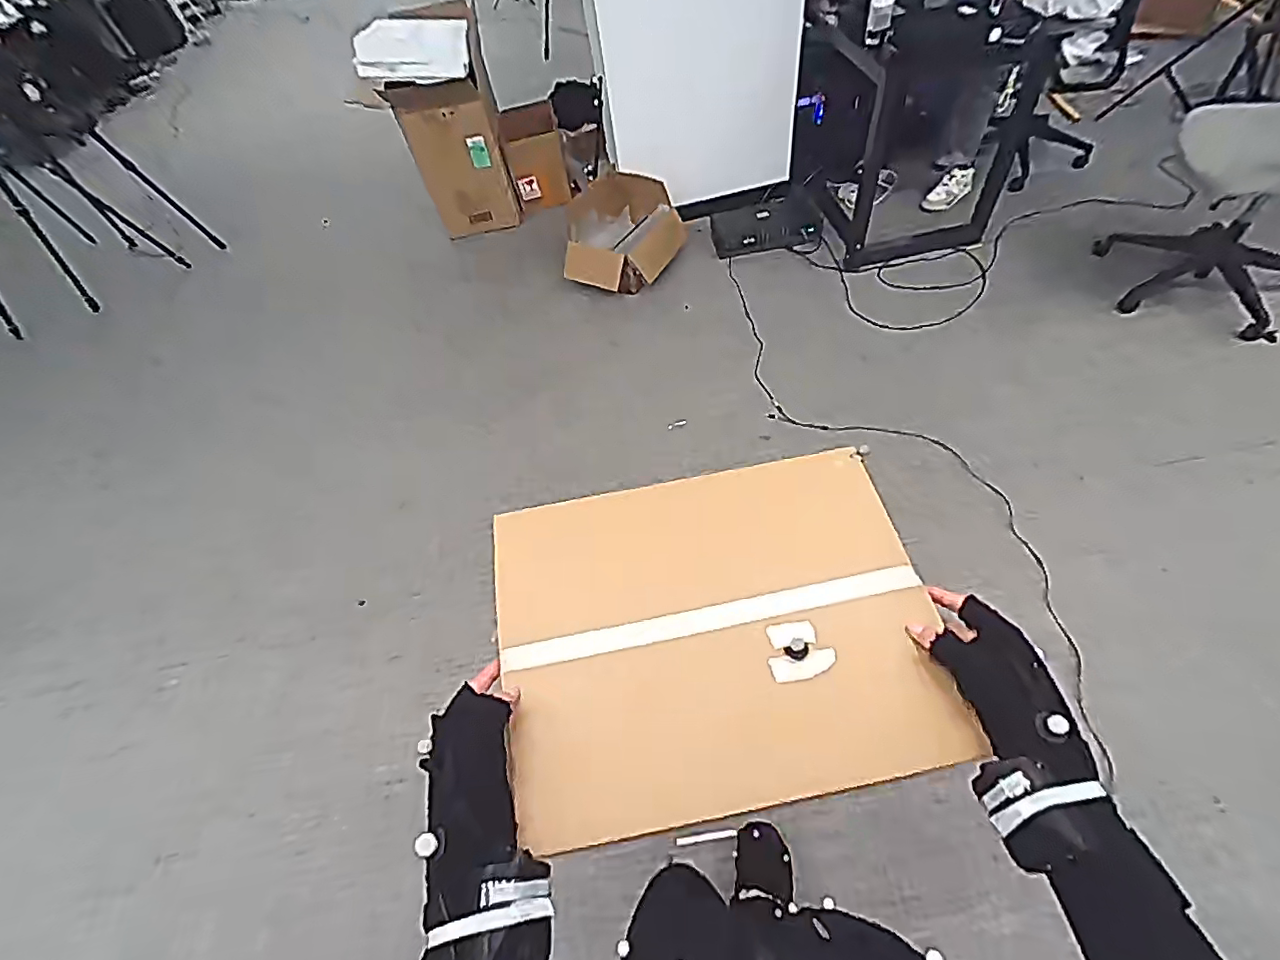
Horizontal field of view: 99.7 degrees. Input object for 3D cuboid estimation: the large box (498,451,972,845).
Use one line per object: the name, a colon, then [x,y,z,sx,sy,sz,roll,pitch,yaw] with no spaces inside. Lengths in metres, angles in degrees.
large box: [0.073,0.210,0.656,0.408,0.320,0.320,-11,59,-3]
